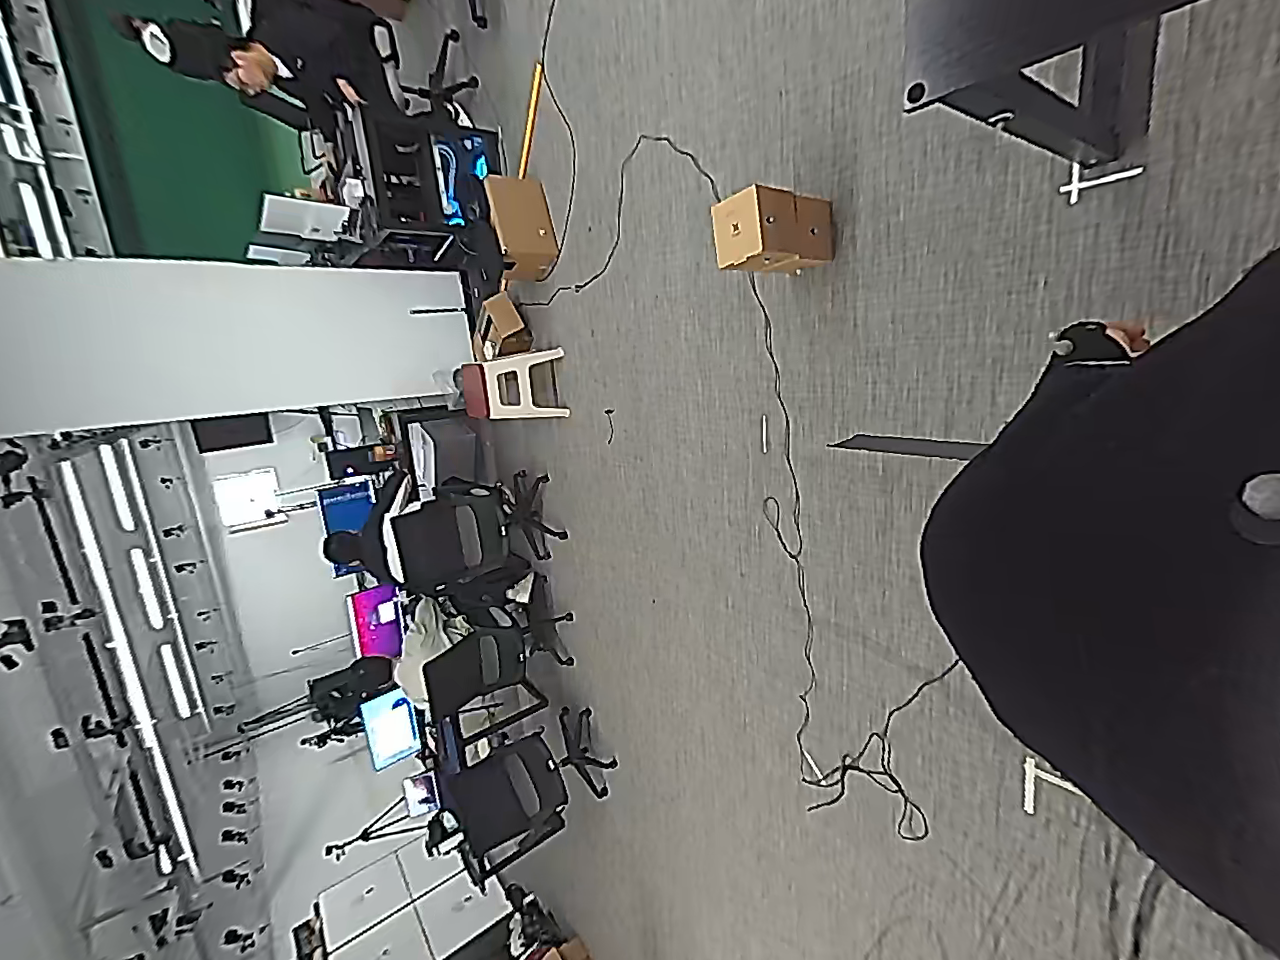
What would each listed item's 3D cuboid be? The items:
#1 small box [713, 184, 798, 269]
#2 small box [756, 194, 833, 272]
[{"bbox_3d":[0.330,-0.709,1.532,0.168,0.176,0.179,1,101,53],"label":"small box"},{"bbox_3d":[0.461,-0.735,1.626,0.168,0.176,0.179,7,107,53],"label":"small box"}]
